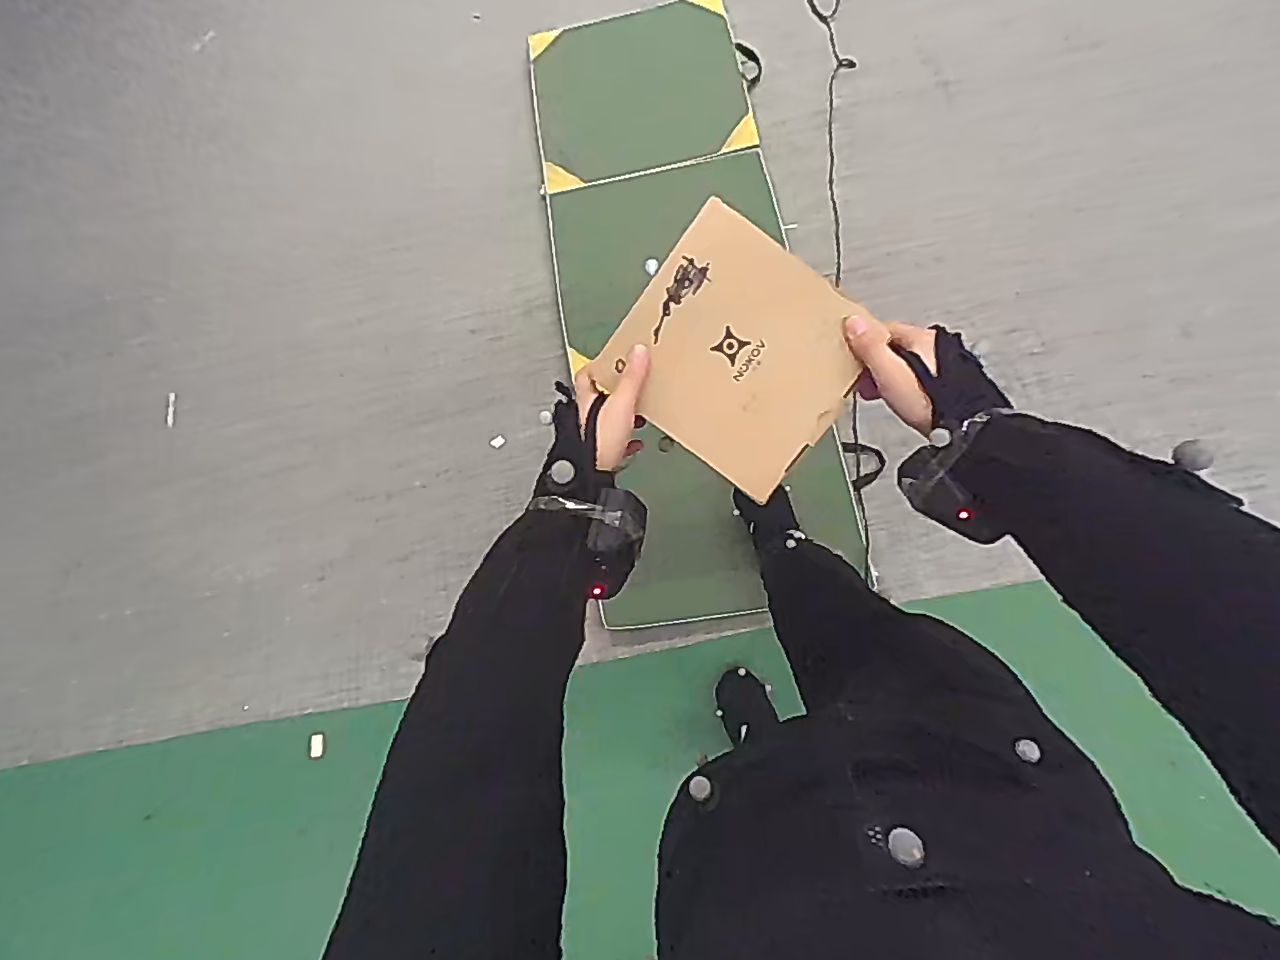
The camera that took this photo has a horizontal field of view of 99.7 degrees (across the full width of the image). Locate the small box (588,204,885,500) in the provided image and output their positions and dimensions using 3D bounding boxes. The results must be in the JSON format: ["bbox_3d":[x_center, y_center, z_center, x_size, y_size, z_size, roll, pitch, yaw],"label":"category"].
[{"bbox_3d":[0.077,-0.107,0.501,0.179,0.176,0.168,37,96,-2],"label":"small box"}]
